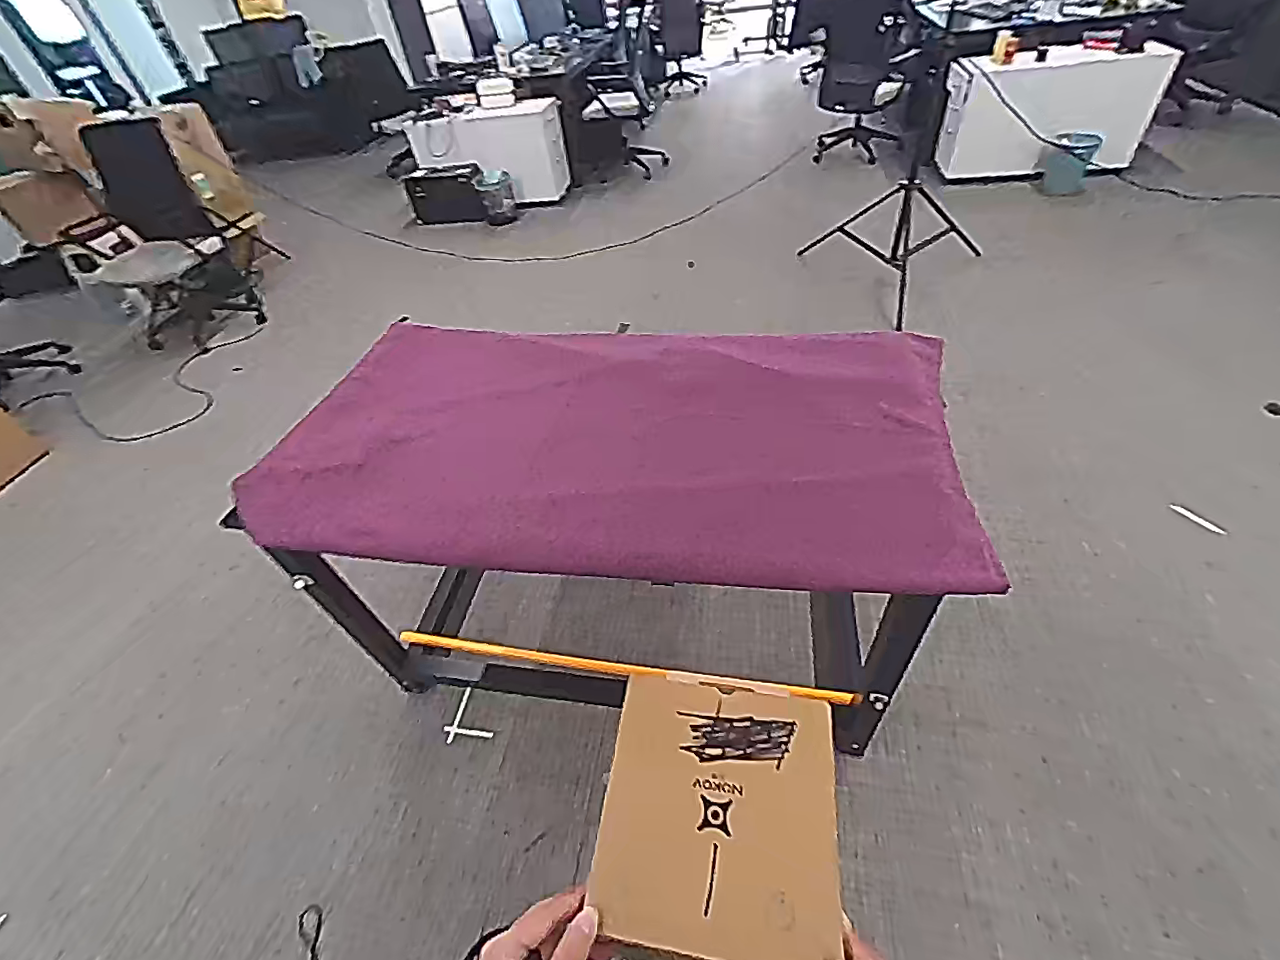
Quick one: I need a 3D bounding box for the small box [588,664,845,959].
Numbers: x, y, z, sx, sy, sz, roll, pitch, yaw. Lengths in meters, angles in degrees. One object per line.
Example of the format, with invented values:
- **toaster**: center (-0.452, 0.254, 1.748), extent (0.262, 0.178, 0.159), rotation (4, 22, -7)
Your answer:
- **small box**: center (0.066, 0.283, 0.452), extent (0.168, 0.176, 0.179), rotation (4, 45, 11)
